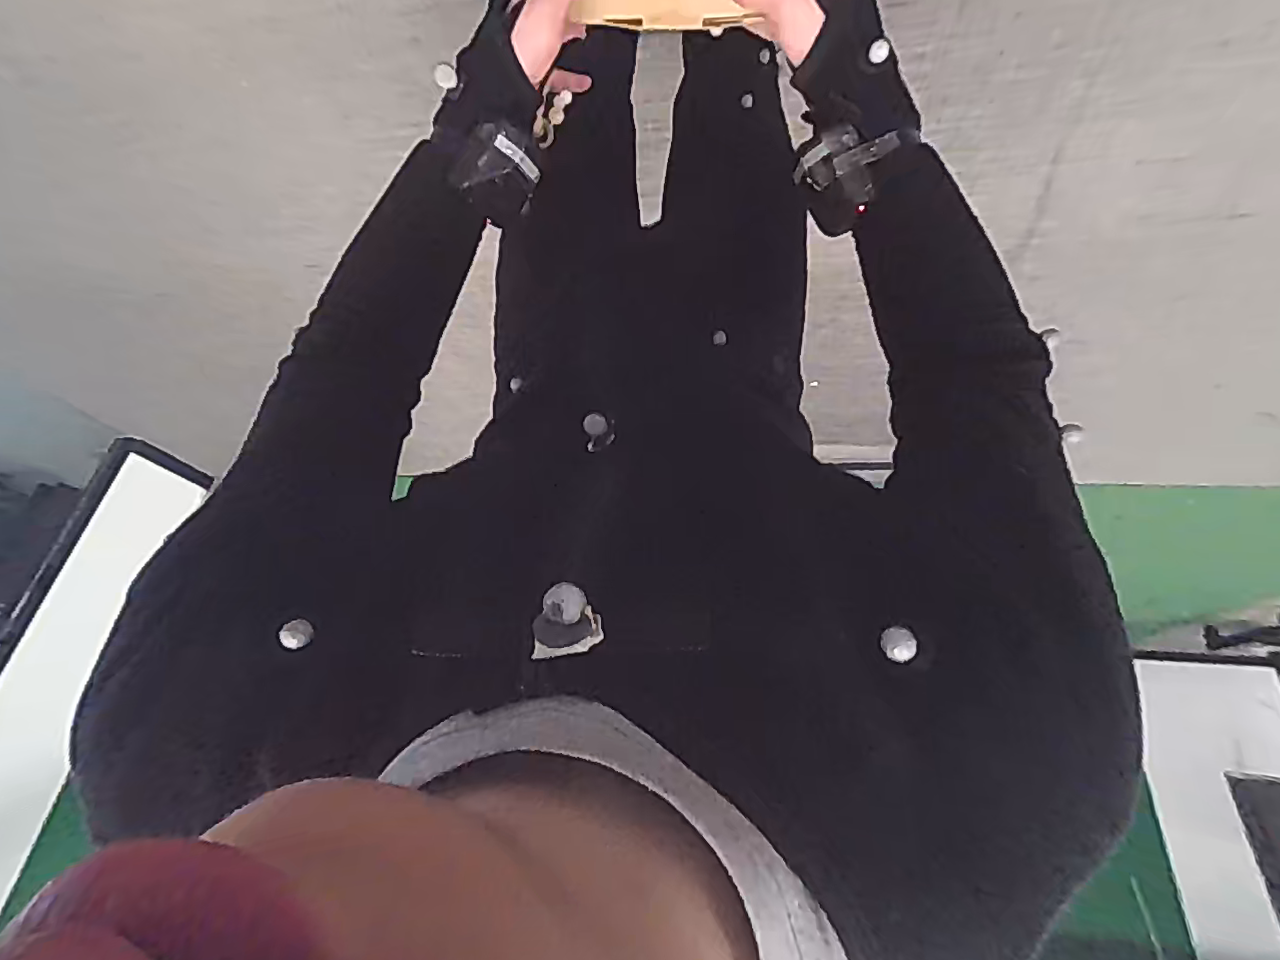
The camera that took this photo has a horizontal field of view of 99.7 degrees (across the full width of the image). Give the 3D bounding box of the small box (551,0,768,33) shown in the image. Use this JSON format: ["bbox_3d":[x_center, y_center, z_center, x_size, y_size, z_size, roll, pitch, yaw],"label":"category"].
[{"bbox_3d":[0.018,-0.462,0.405,0.168,0.176,0.179,1,136,4],"label":"small box"}]
